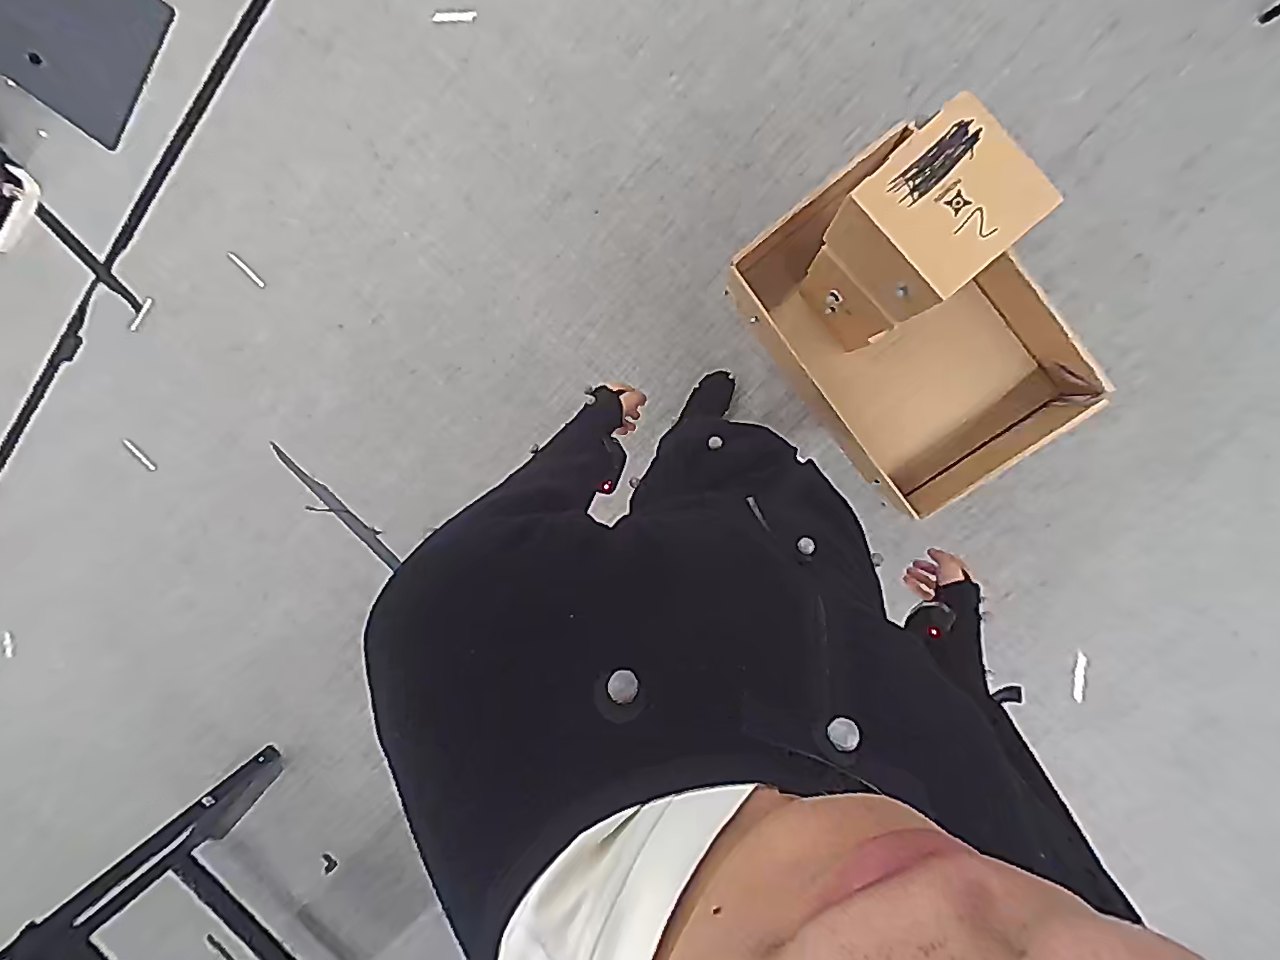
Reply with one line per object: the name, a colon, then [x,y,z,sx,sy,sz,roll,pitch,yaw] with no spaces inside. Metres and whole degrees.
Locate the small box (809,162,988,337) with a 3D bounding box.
small box: [0.398,-0.356,0.873,0.179,0.176,0.168,-43,89,11]

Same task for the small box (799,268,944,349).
small box: [0.428,-0.370,1.033,0.168,0.176,0.179,-40,92,12]
